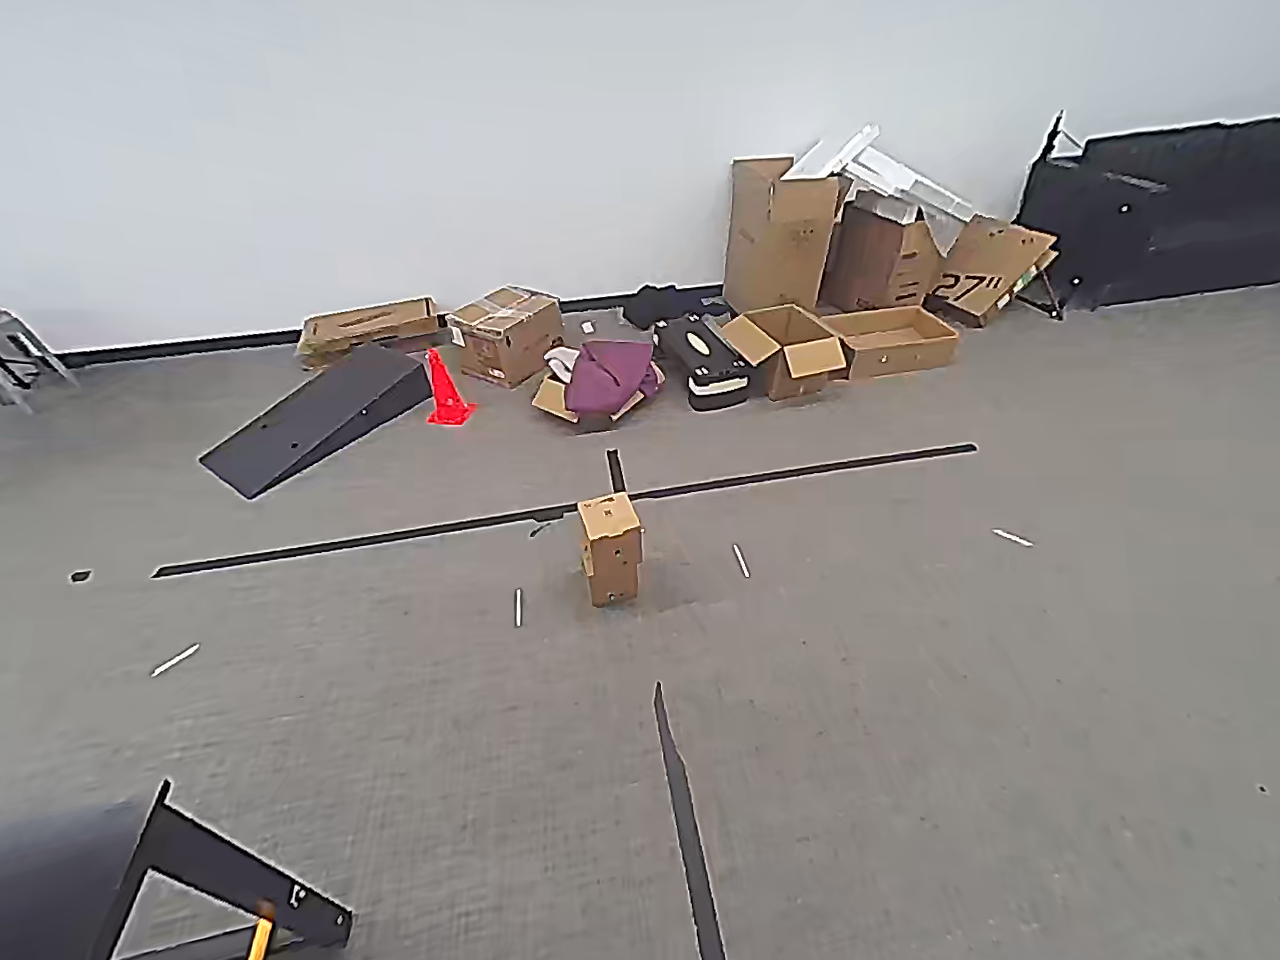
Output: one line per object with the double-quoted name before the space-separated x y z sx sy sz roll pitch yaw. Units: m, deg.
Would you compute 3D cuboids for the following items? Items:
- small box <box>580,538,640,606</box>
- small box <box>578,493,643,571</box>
"small box" -0.103 0.300 1.850 0.168 0.176 0.179 -13 43 -10
"small box" -0.092 0.174 1.744 0.168 0.176 0.179 -14 42 -11
